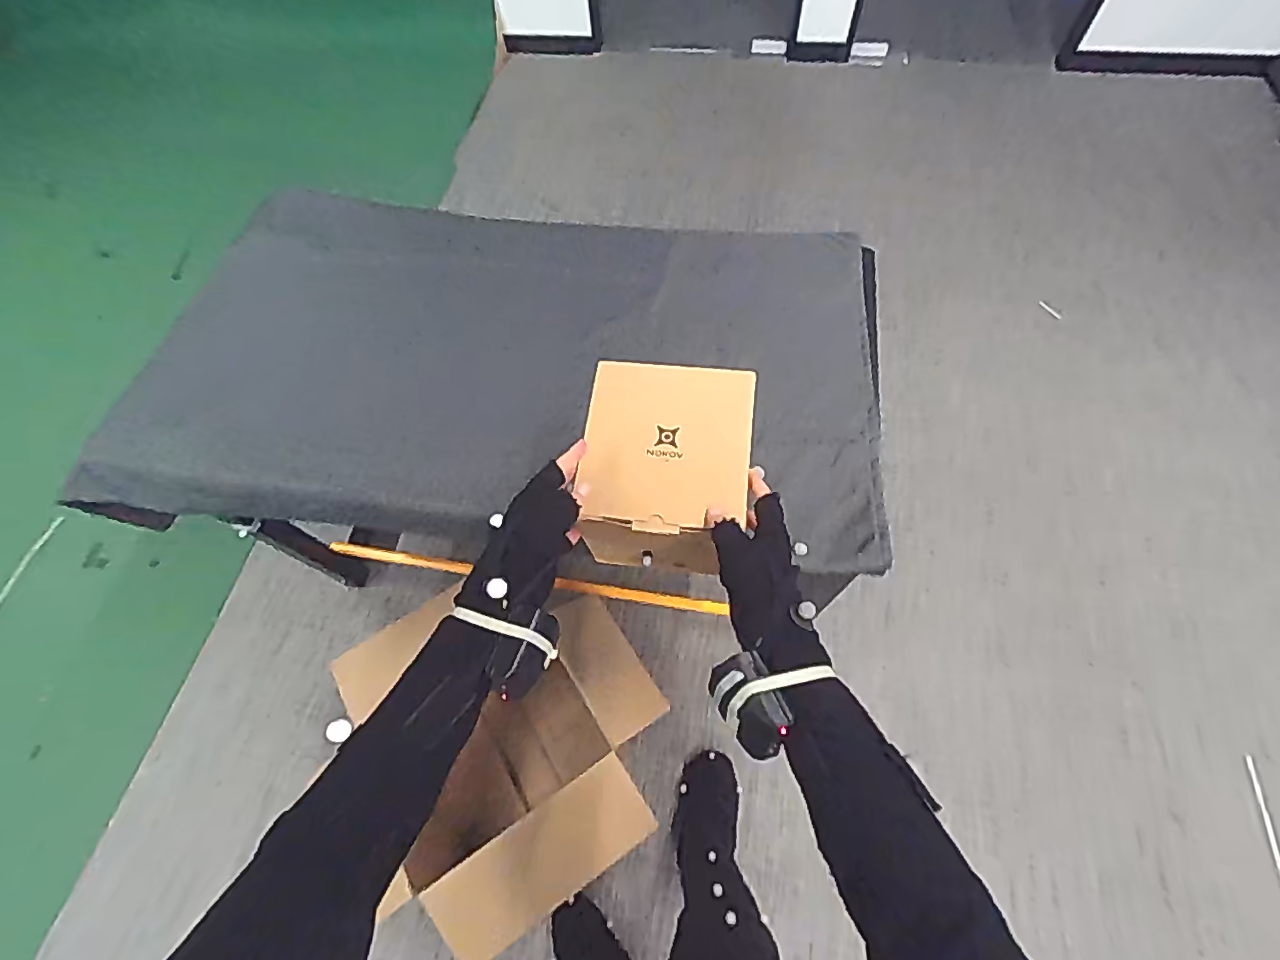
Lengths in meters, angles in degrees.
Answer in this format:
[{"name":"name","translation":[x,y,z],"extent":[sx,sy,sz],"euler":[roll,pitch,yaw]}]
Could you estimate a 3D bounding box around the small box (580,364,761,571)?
[{"name":"small box","translation":[0.039,-0.008,0.610],"extent":[0.168,0.176,0.179],"euler":[5,69,7]}]
